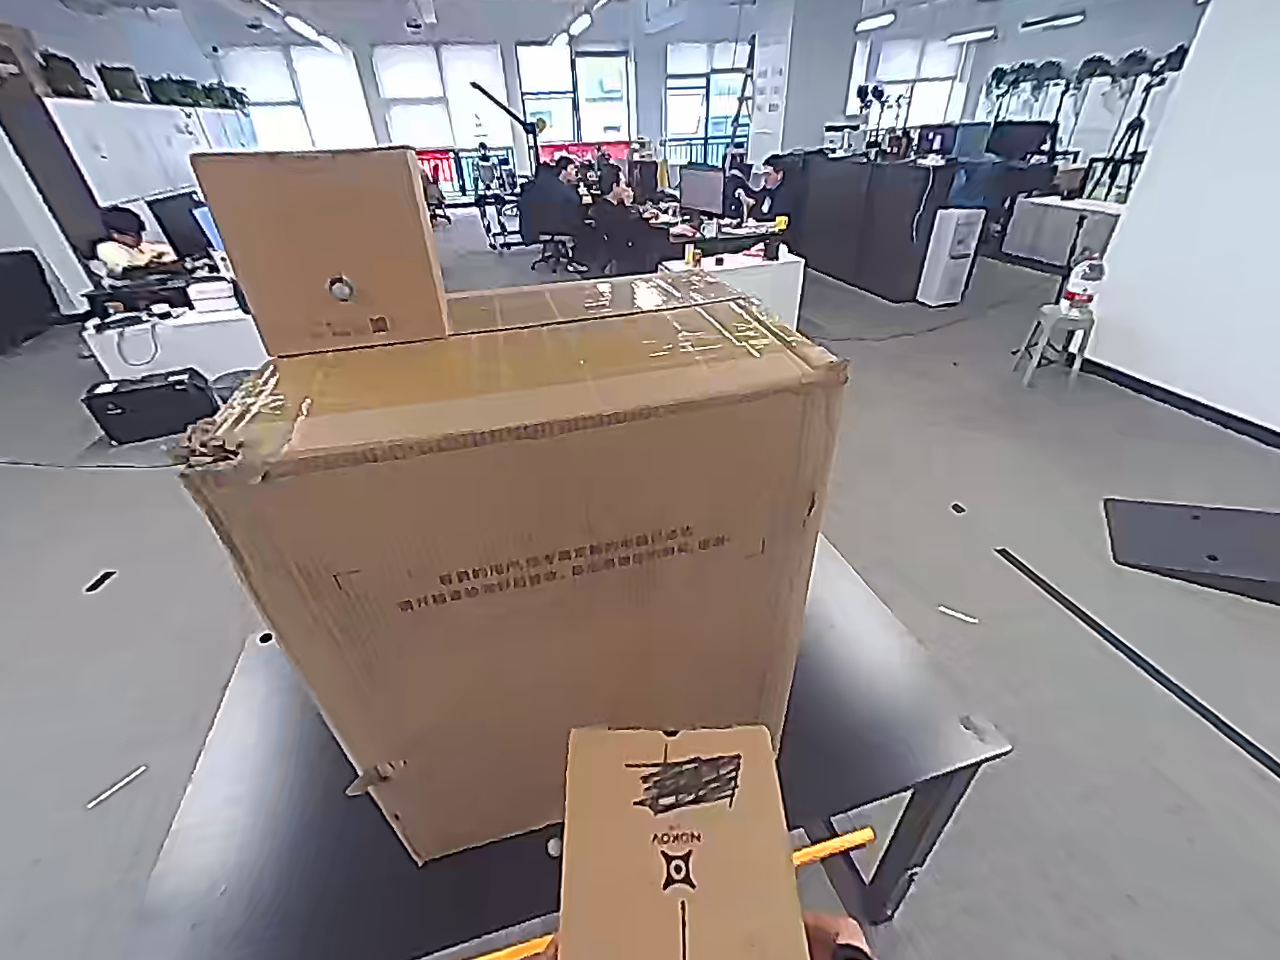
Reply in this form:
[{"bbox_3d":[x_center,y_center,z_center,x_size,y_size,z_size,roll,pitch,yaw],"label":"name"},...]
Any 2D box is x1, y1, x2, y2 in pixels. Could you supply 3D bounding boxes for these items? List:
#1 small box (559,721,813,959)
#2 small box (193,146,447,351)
[{"bbox_3d":[0.022,0.318,0.443,0.168,0.176,0.179,0,48,-4],"label":"small box"},{"bbox_3d":[-0.303,-0.243,0.561,0.168,0.176,0.179,-11,33,-14],"label":"small box"}]
